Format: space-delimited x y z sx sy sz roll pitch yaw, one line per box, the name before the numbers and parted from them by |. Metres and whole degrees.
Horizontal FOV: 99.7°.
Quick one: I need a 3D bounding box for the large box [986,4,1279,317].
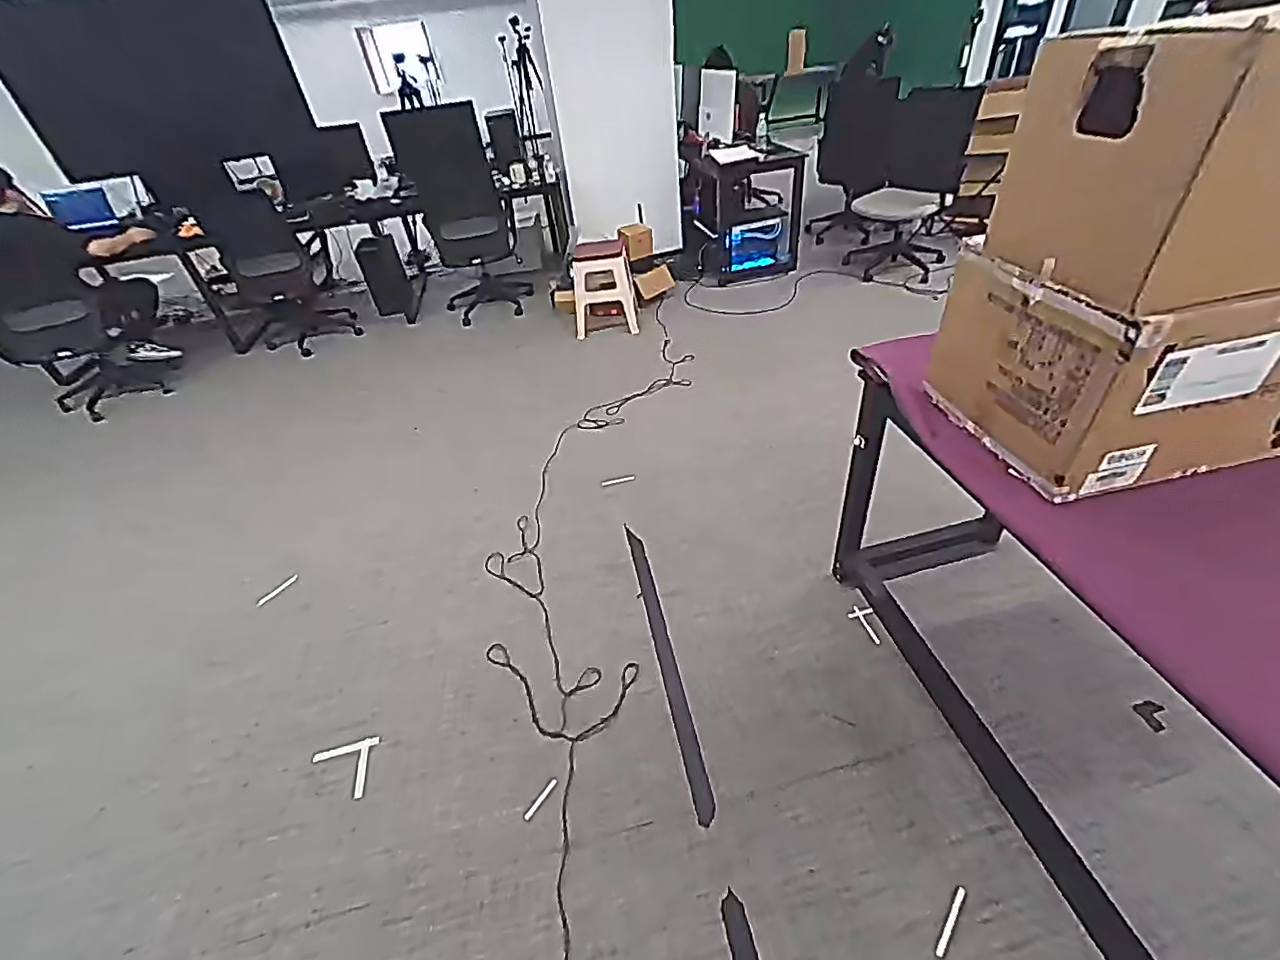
large box | 0.821 -0.469 0.779 0.408 0.320 0.320 -13 38 -5
